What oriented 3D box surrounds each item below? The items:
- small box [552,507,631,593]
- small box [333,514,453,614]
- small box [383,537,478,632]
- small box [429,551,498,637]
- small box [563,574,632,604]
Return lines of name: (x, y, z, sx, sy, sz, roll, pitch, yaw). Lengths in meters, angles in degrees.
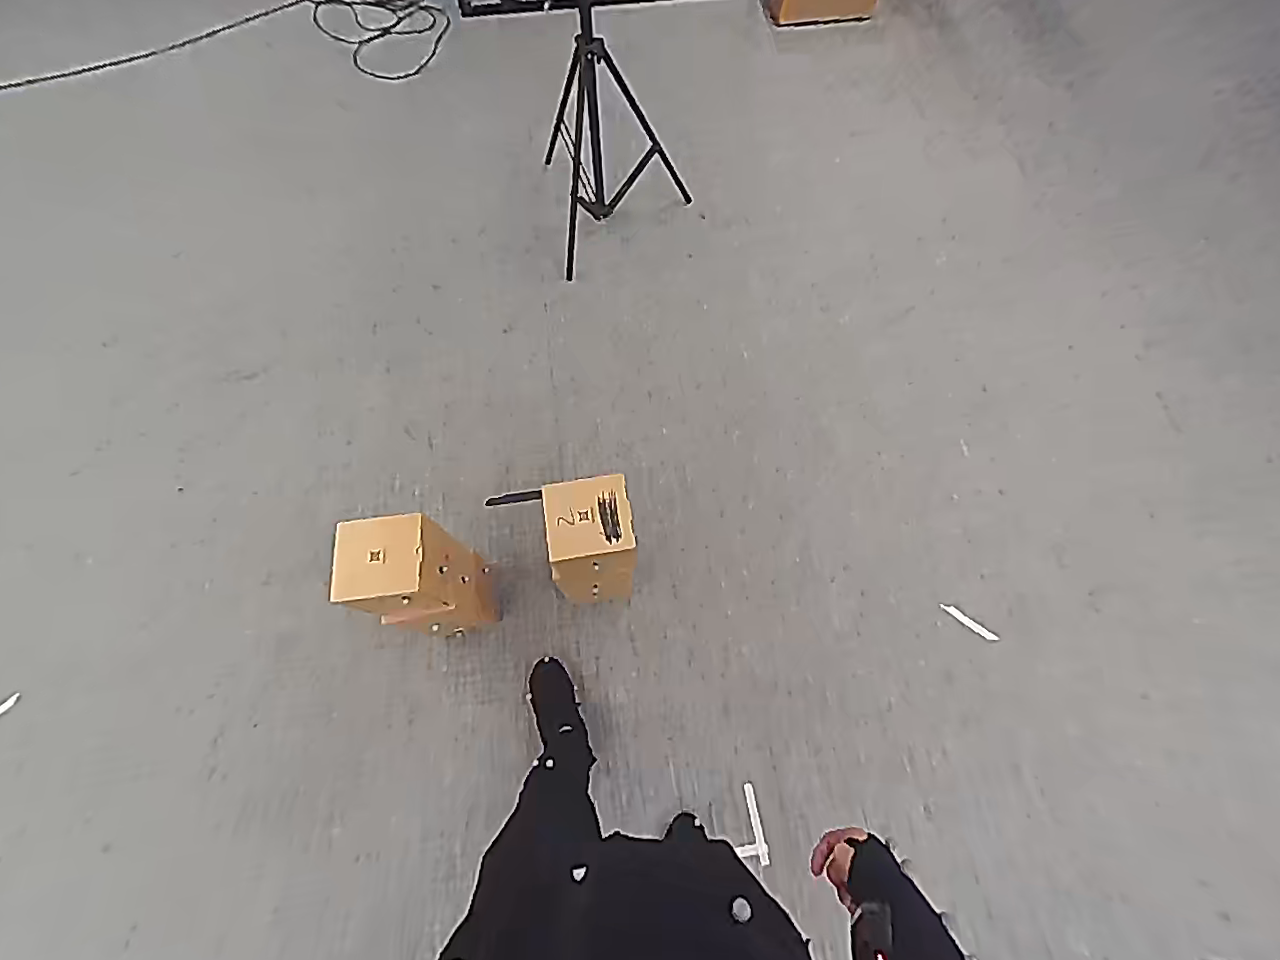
small box: (-0.117, 0.175, 1.322, 0.179, 0.176, 0.168, -5, 67, -3)
small box: (-0.513, 0.183, 1.146, 0.179, 0.176, 0.168, -7, 68, -2)
small box: (-0.498, 0.253, 1.293, 0.168, 0.176, 0.179, -11, 69, -3)
small box: (-0.490, 0.309, 1.447, 0.168, 0.176, 0.179, -13, 69, -5)
small box: (-0.116, 0.238, 1.473, 0.179, 0.176, 0.168, -6, 68, -3)
